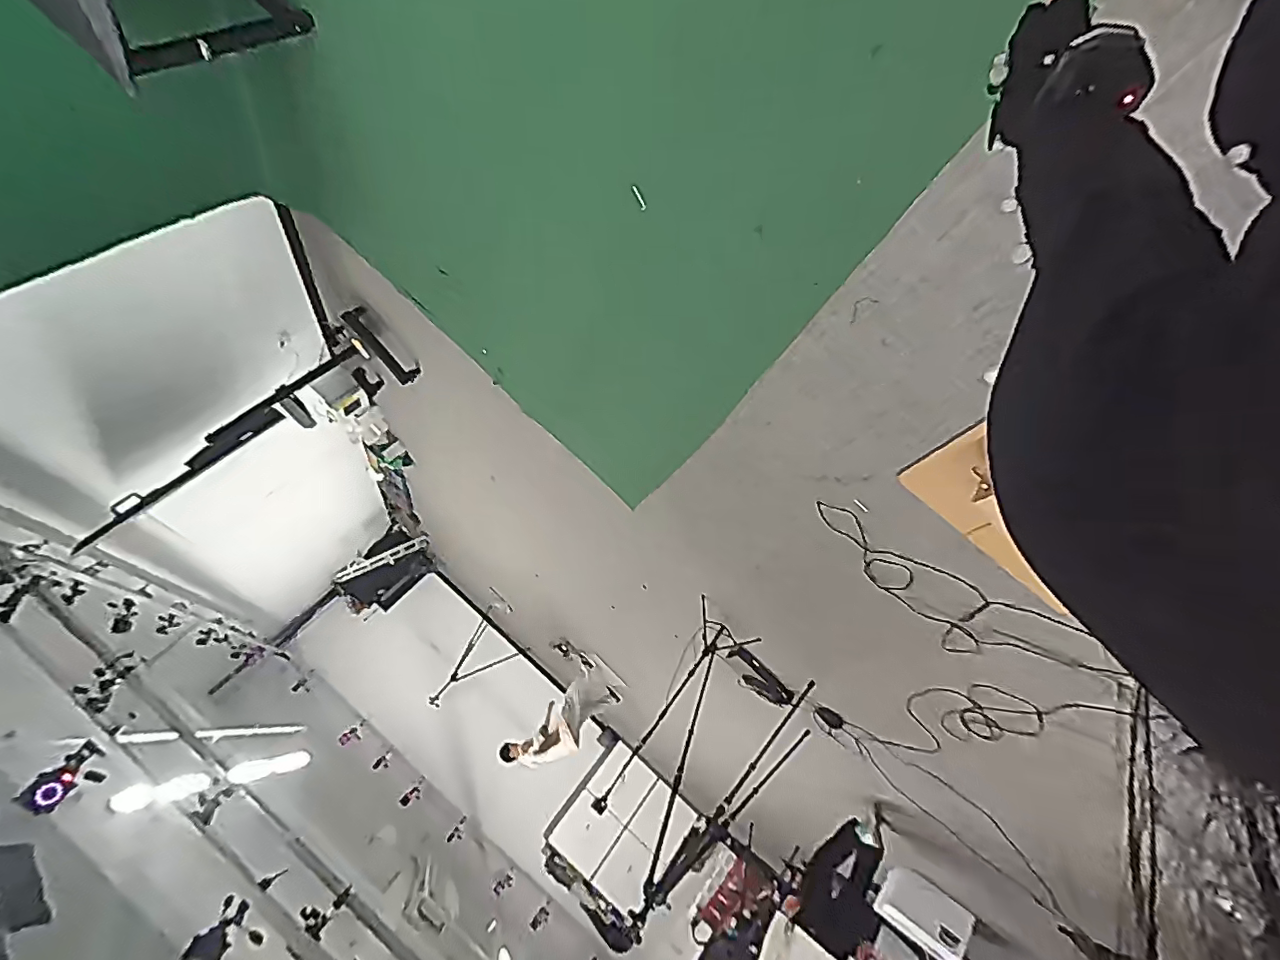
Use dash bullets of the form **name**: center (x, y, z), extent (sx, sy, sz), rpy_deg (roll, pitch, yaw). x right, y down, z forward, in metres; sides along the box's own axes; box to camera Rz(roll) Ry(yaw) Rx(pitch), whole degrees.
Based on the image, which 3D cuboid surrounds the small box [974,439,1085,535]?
- **small box**: center (1.080, 0.020, 1.498), extent (0.168, 0.176, 0.179), rpy_deg (42, 151, 1)
